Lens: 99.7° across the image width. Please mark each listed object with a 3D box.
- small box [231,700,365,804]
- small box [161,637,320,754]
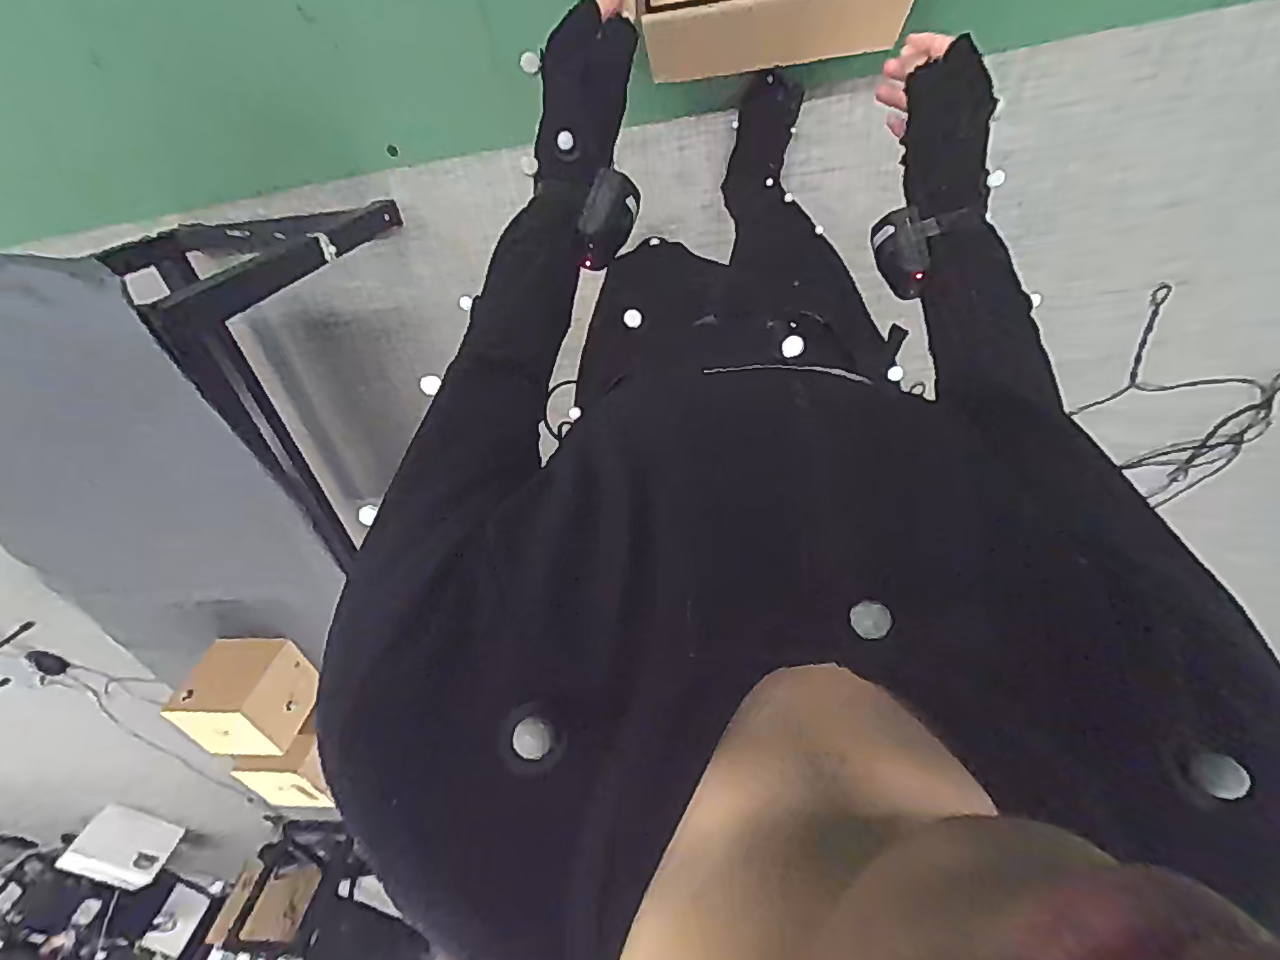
[{"bbox_3d":[-0.776,0.628,1.256,0.179,0.176,0.168,-5,127,12],"label":"small box"},{"bbox_3d":[-0.802,0.441,1.115,0.179,0.176,0.168,-3,128,10],"label":"small box"}]
